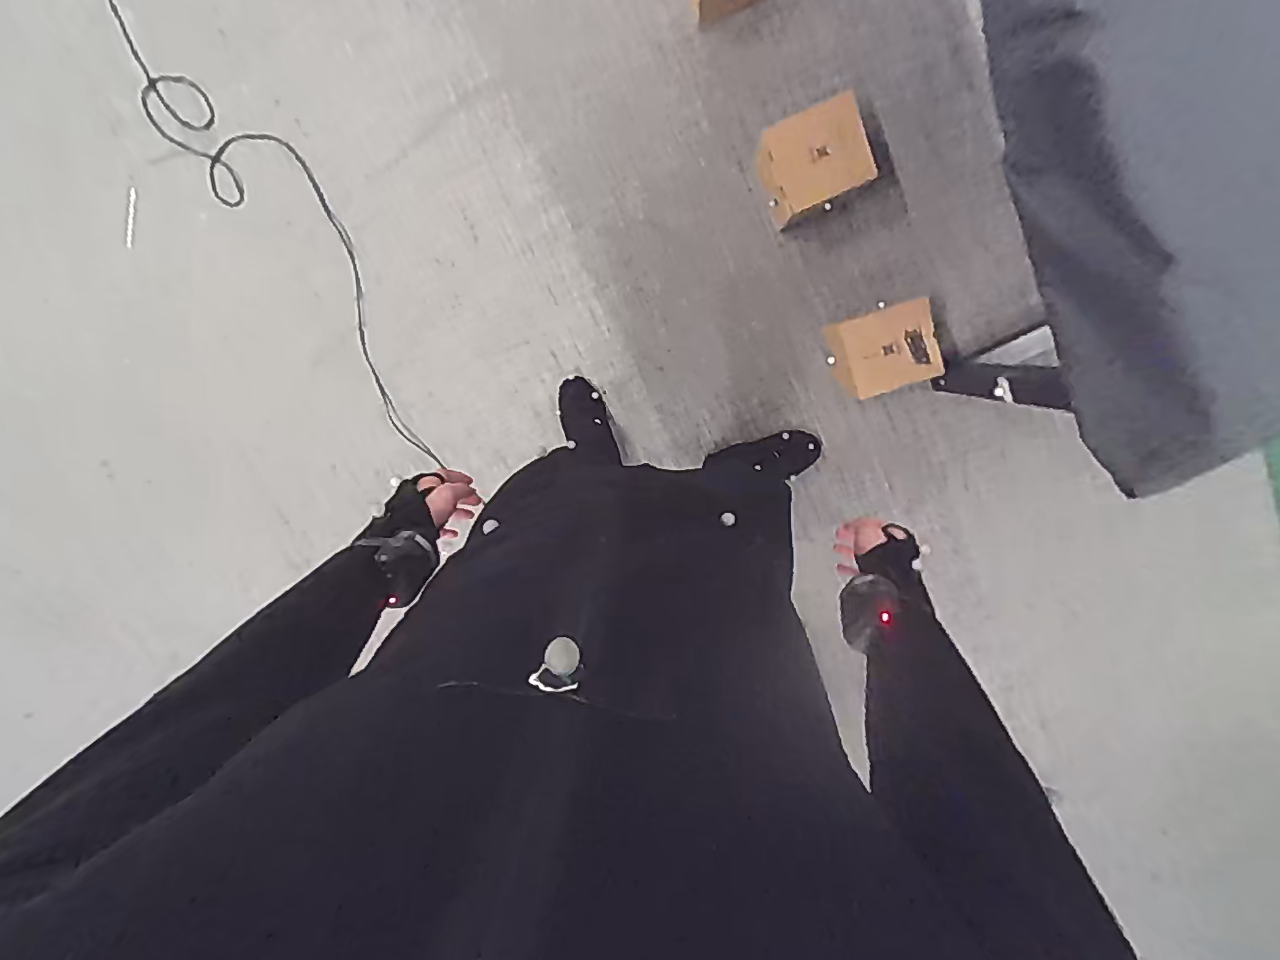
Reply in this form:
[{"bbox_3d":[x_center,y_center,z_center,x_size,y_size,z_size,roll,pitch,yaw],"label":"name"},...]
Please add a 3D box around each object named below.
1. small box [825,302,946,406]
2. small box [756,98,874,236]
[{"bbox_3d":[0.525,-0.273,1.175,0.179,0.176,0.168,-18,100,11],"label":"small box"},{"bbox_3d":[0.350,-0.631,1.118,0.179,0.176,0.168,-23,101,9],"label":"small box"}]
